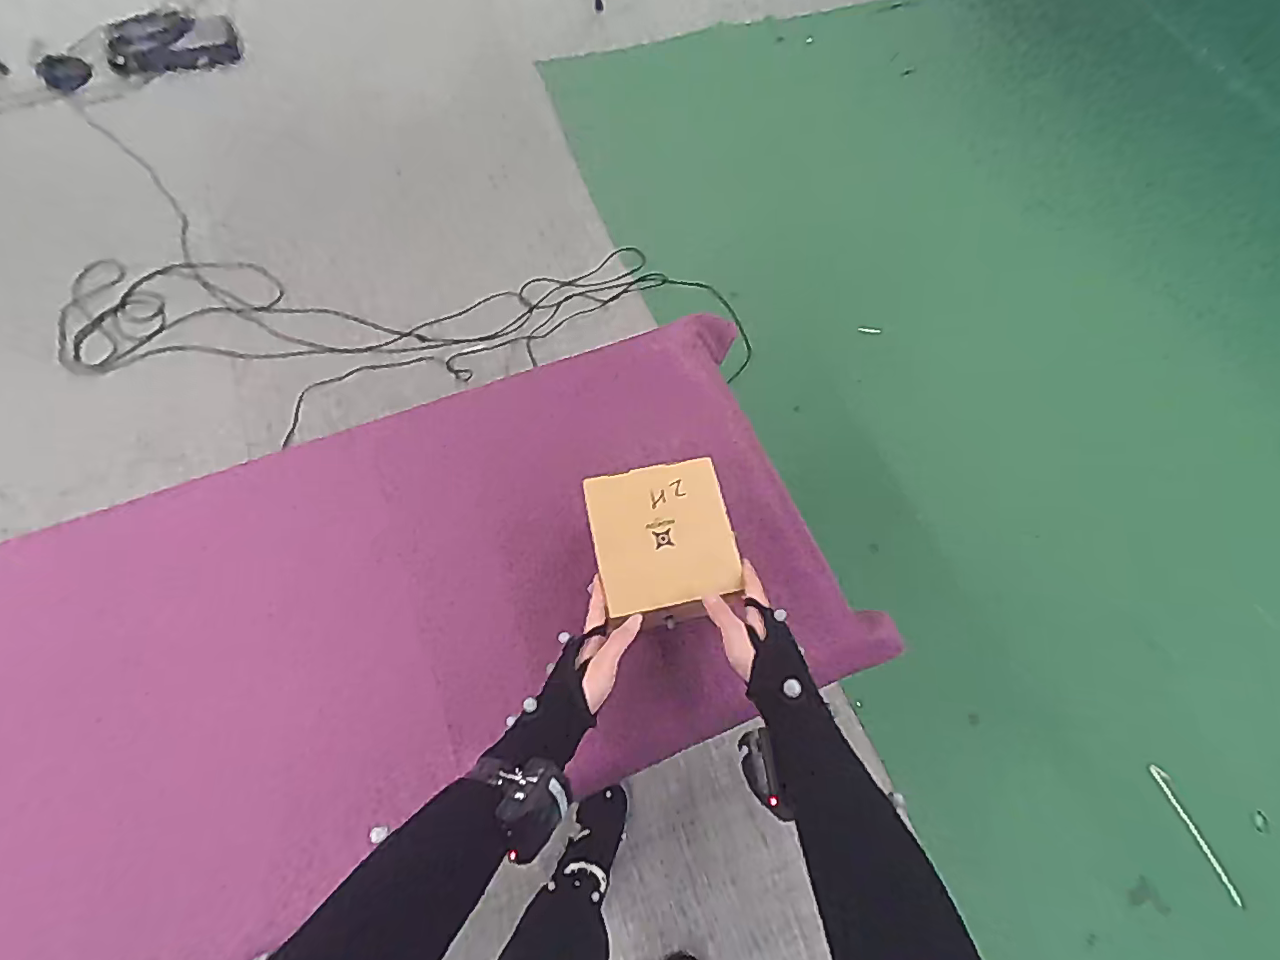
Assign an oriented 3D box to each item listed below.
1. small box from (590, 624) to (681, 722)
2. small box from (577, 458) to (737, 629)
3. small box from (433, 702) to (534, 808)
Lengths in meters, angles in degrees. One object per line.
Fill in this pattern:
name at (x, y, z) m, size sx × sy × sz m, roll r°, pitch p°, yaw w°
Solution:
small box at (-0.013, 0.477, 1.340) m, size 0.168 × 0.176 × 0.179 m, roll -23°, pitch 69°, yaw -12°
small box at (0.017, 0.093, 0.713) m, size 0.168 × 0.176 × 0.179 m, roll -10°, pitch 68°, yaw -5°
small box at (-0.356, 0.631, 1.262) m, size 0.179 × 0.176 × 0.168 m, roll -20°, pitch 69°, yaw -10°
